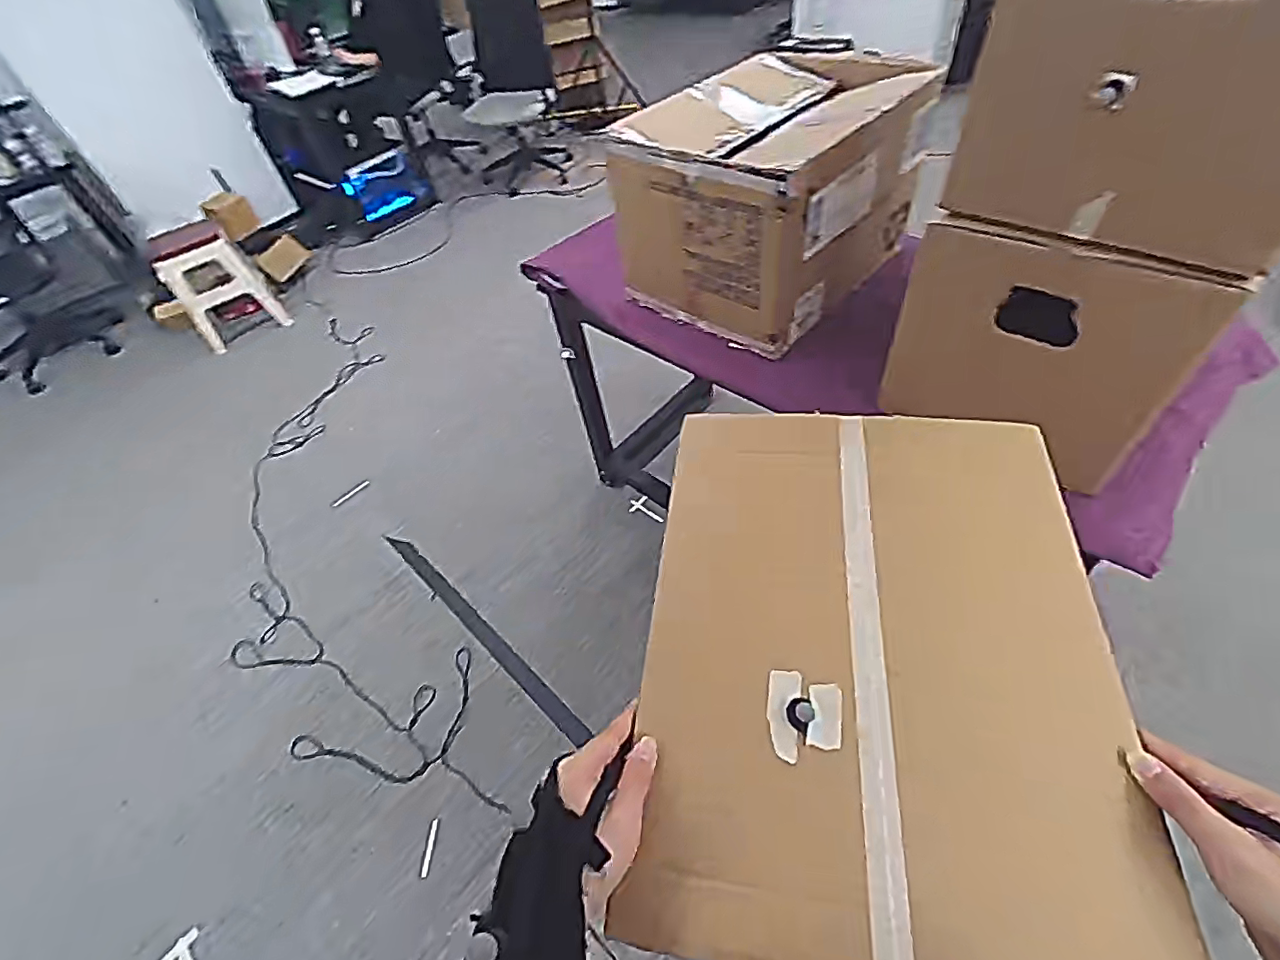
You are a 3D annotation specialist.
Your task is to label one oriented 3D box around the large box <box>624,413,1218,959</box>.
[{"bbox_3d":[0.181,0.187,0.512,0.320,0.320,0.408,2,56,11],"label":"large box"}]
